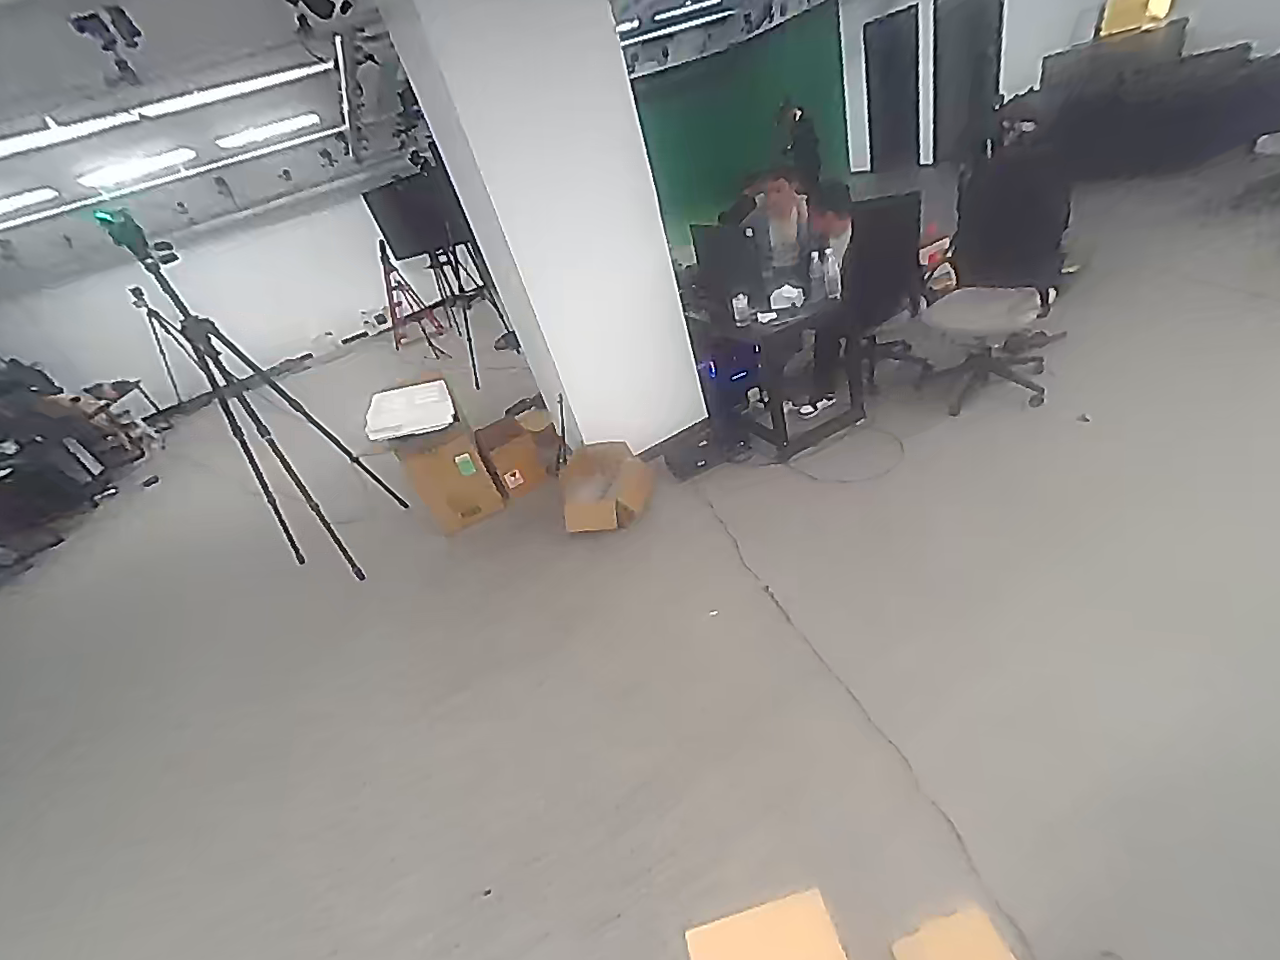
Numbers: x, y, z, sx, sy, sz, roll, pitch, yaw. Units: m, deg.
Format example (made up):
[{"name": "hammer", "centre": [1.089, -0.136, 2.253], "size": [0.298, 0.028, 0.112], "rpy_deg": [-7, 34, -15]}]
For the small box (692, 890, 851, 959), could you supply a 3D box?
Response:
[{"name": "small box", "centre": [0.165, 0.608, 0.605], "size": [0.168, 0.176, 0.179], "rpy_deg": [-15, 38, -3]}]

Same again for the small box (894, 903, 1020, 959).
[{"name": "small box", "centre": [0.532, 0.834, 0.857], "size": [0.168, 0.176, 0.179], "rpy_deg": [-23, 30, -5]}]
